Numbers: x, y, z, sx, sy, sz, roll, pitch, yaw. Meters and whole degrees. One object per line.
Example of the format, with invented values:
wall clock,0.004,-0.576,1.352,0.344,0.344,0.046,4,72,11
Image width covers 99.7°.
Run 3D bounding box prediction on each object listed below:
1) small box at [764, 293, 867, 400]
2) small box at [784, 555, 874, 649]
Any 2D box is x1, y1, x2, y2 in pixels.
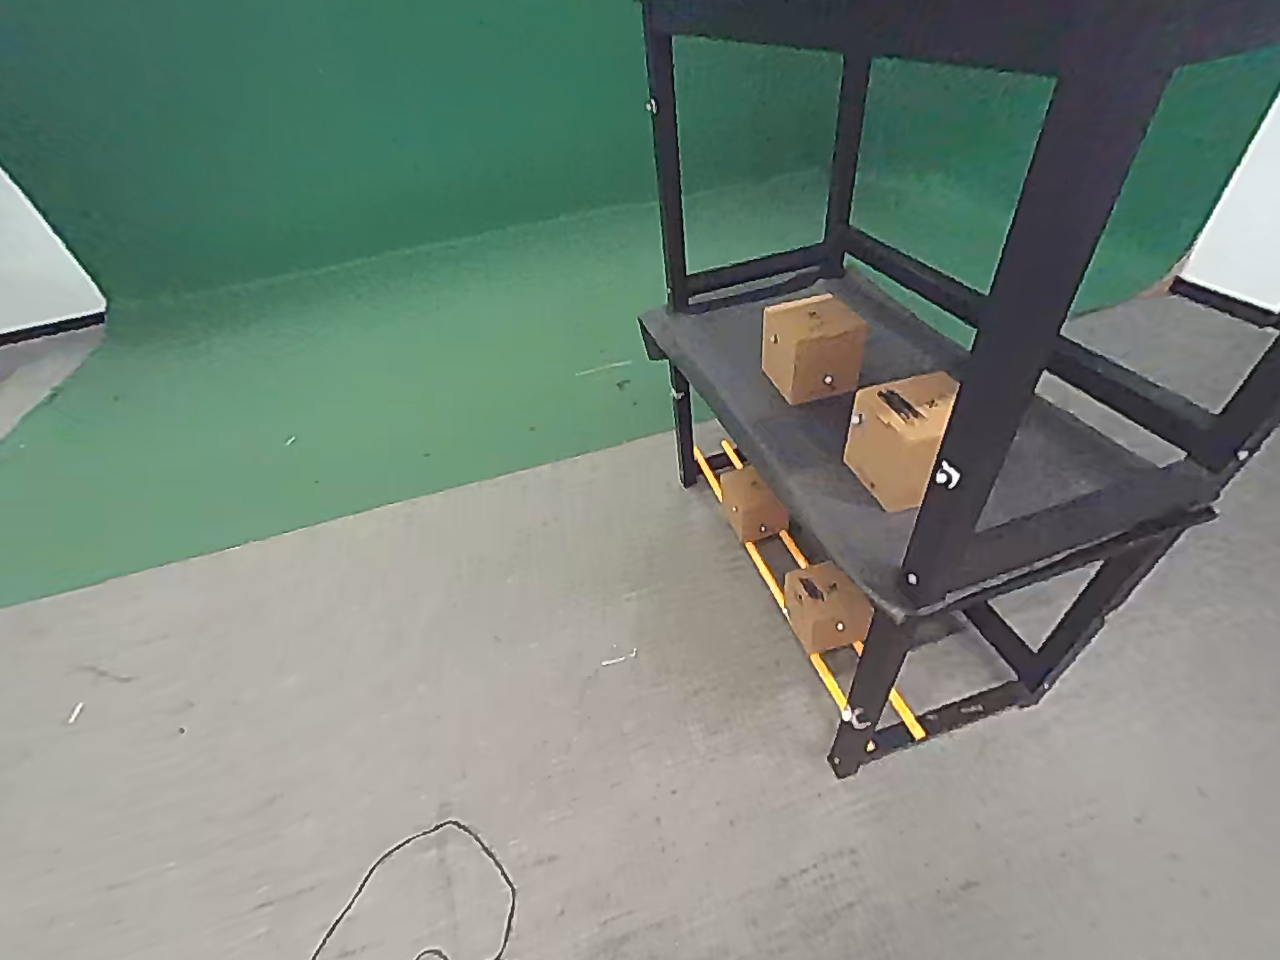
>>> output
small box,0.398,-0.311,1.262,0.168,0.176,0.179,-14,43,-5
small box,0.505,0.335,1.470,0.179,0.176,0.168,-14,43,-5
